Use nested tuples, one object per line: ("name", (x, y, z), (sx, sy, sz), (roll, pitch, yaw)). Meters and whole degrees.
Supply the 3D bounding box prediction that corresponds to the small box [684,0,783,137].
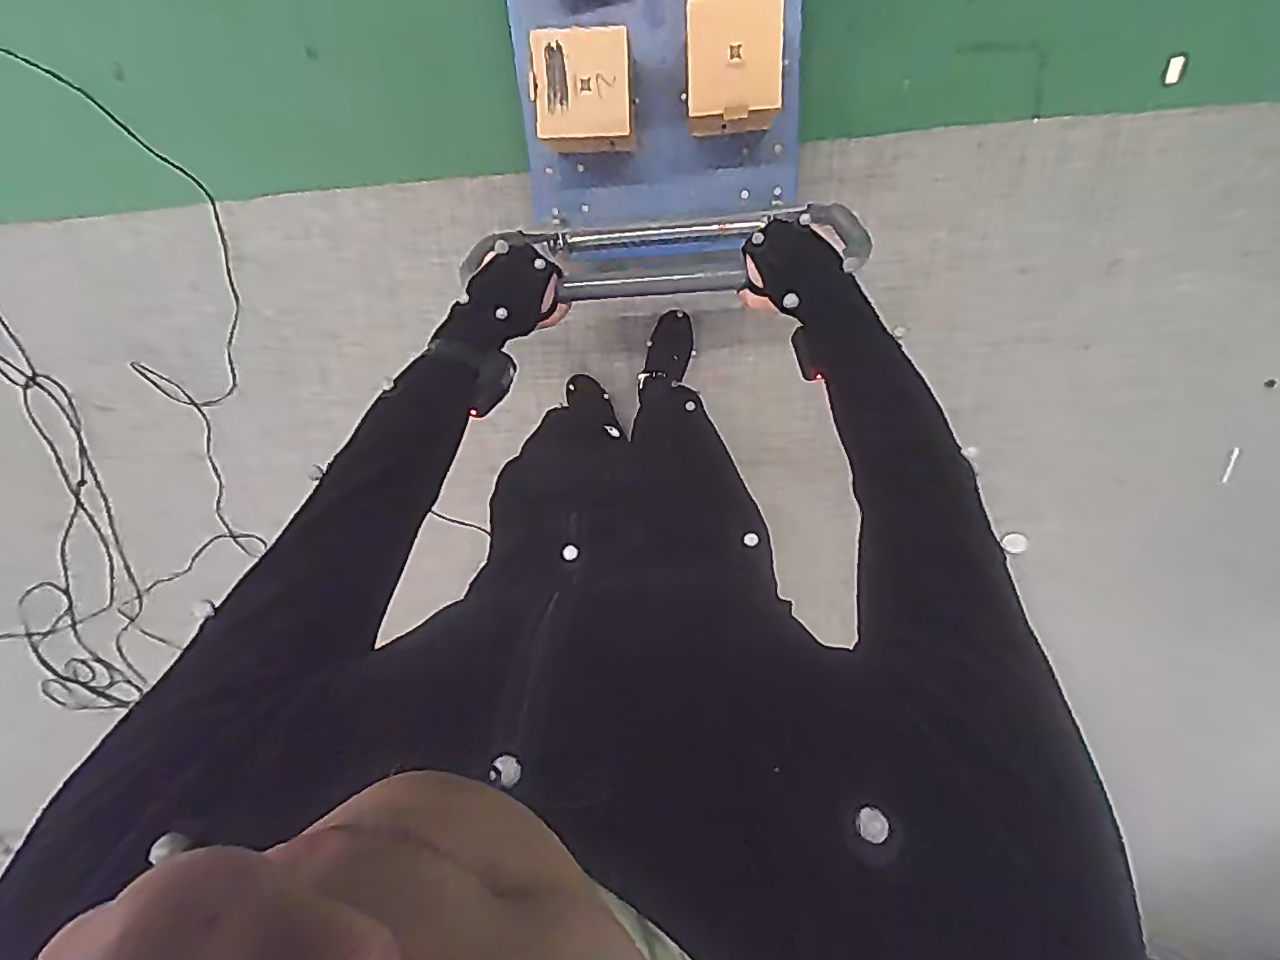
("small box", (0.169, -0.769, 1.019), (0.168, 0.176, 0.179), (-3, 114, 5))
